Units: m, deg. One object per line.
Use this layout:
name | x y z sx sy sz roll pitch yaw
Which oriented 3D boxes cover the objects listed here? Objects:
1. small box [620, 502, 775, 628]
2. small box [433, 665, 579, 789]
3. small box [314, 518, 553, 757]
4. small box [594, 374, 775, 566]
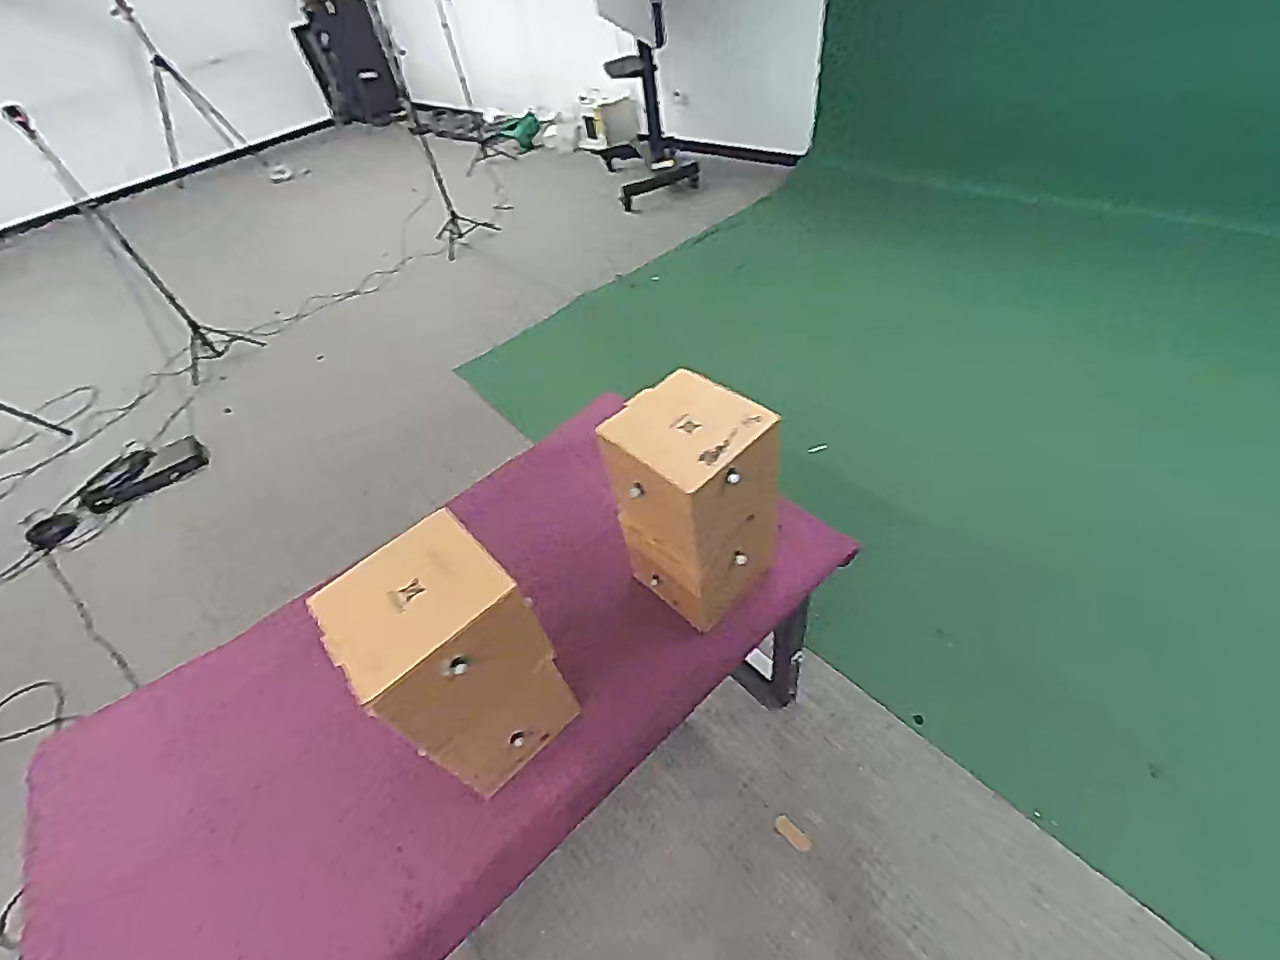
small box | 0.095 0.099 0.866 0.179 0.176 0.168 -40 52 -21
small box | -0.210 0.296 0.754 0.168 0.176 0.179 -38 49 -22
small box | -0.231 0.186 0.636 0.179 0.176 0.168 -38 51 -22
small box | 0.067 -0.013 0.749 0.168 0.176 0.179 -40 51 -20
